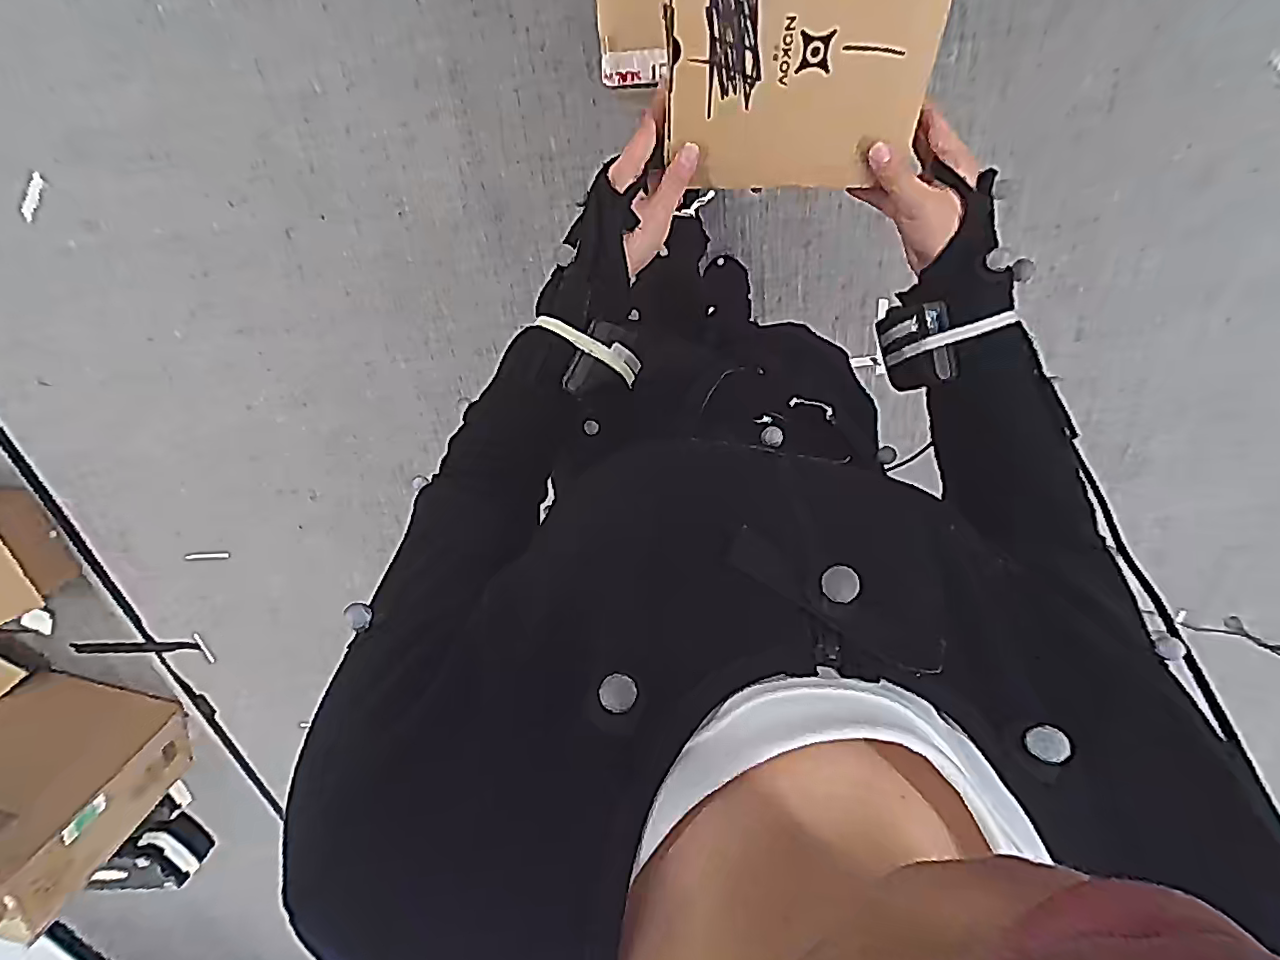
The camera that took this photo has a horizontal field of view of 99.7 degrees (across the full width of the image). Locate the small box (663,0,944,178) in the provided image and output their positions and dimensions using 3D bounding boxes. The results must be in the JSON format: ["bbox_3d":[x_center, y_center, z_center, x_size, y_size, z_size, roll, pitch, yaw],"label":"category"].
[{"bbox_3d":[0.108,-0.342,0.411,0.179,0.176,0.168,1,133,2],"label":"small box"}]
